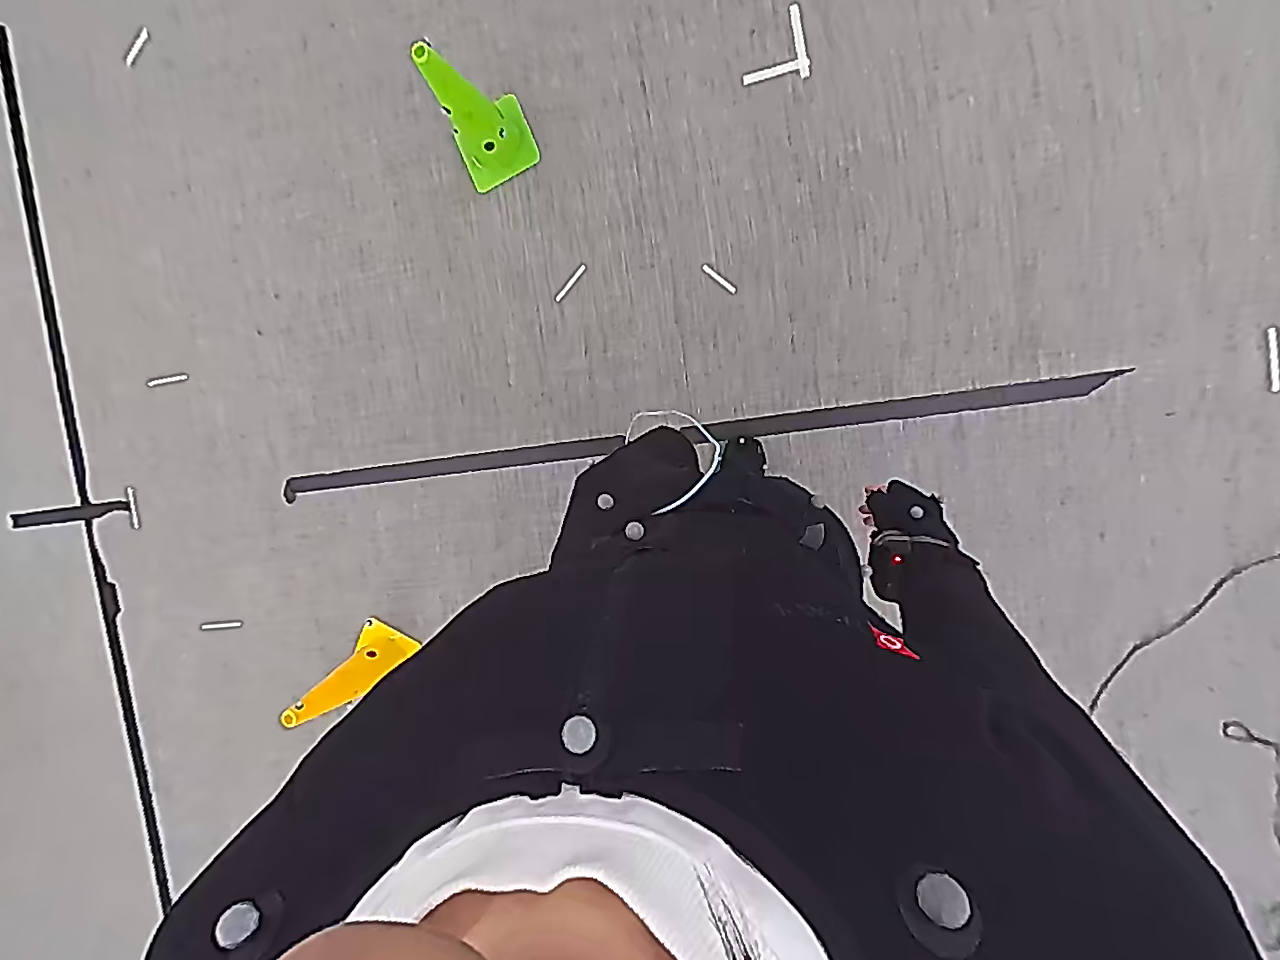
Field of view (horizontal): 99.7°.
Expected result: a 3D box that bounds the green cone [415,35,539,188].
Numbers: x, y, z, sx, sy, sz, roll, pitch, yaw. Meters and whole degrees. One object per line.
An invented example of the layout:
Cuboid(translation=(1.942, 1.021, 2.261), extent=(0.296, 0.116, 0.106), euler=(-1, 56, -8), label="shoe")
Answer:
Cuboid(translation=(-0.418, -0.901, 1.285), extent=(0.202, 0.368, 0.200), euler=(-23, 90, 11), label="green cone")
